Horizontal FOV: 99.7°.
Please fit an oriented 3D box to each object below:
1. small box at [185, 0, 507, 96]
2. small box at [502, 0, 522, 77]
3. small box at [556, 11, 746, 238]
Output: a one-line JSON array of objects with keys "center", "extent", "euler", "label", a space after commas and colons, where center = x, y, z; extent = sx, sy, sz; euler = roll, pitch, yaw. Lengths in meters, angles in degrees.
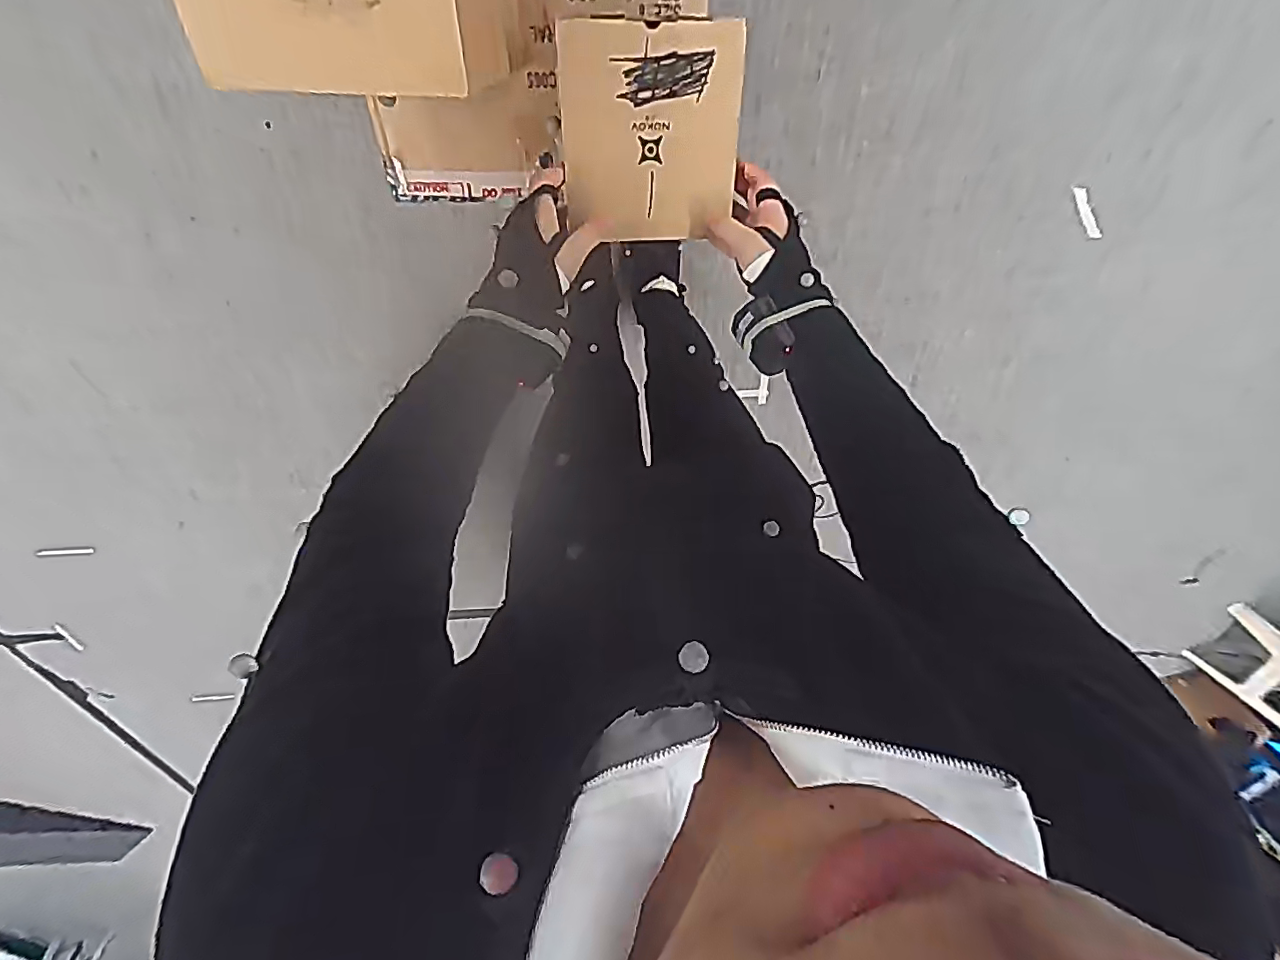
[{"center": [-0.190, -0.371, 0.358], "extent": [0.168, 0.176, 0.179], "euler": [0, 130, -3], "label": "small box"}, {"center": [-0.203, -0.475, 0.483], "extent": [0.168, 0.176, 0.179], "euler": [-1, 130, -4], "label": "small box"}, {"center": [0.000, -0.363, 0.569], "extent": [0.168, 0.176, 0.179], "euler": [-4, 124, -6], "label": "small box"}]
